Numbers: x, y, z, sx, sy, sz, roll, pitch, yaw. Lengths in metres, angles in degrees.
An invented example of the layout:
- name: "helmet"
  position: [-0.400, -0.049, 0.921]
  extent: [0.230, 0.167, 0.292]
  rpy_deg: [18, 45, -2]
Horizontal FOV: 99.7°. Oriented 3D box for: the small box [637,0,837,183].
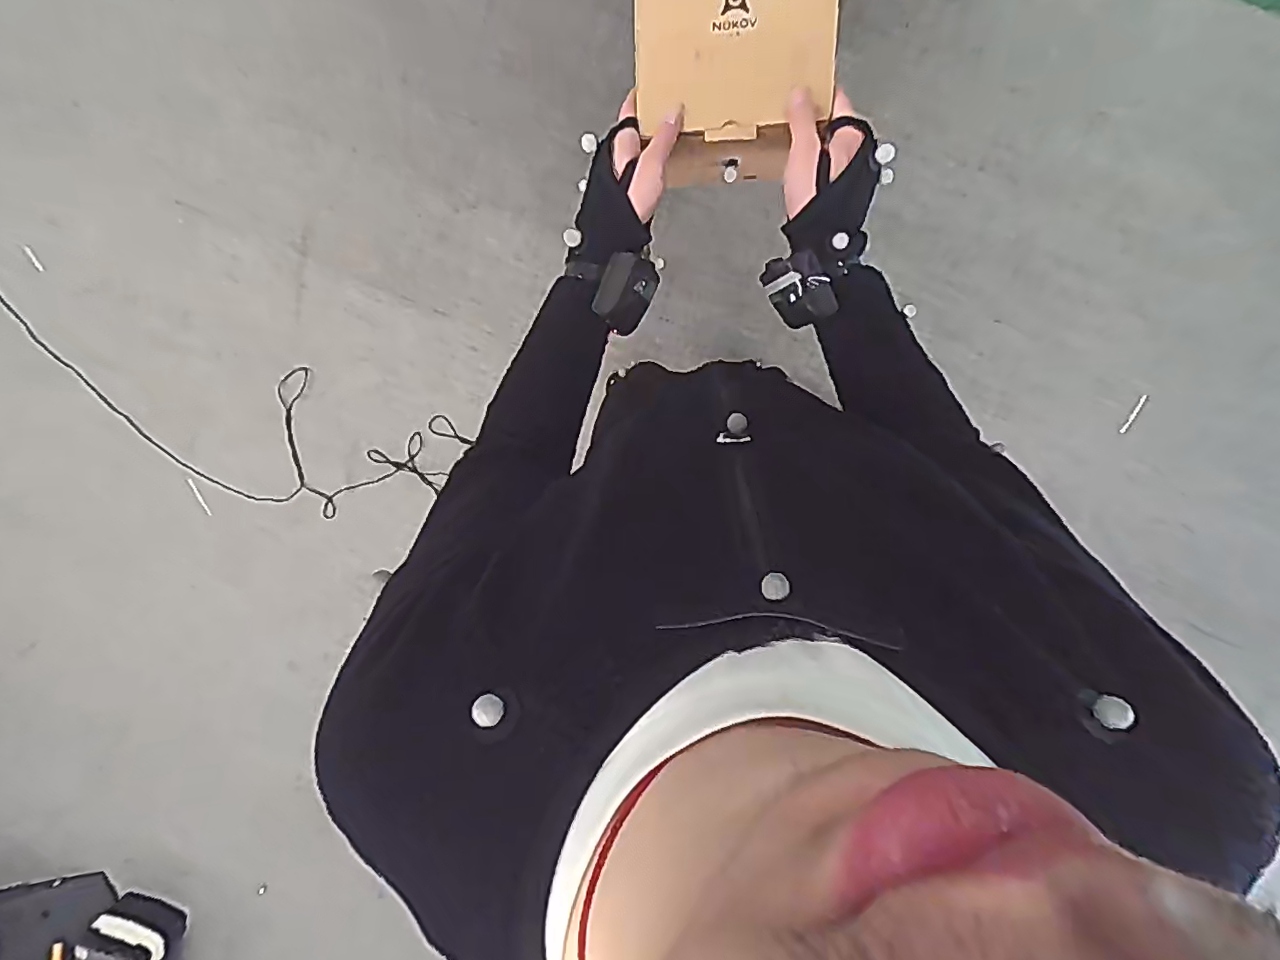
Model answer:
- name: "small box"
  position: [0.094, -0.405, 0.524]
  extent: [0.168, 0.176, 0.179]
  rpy_deg: [-1, 104, 11]
